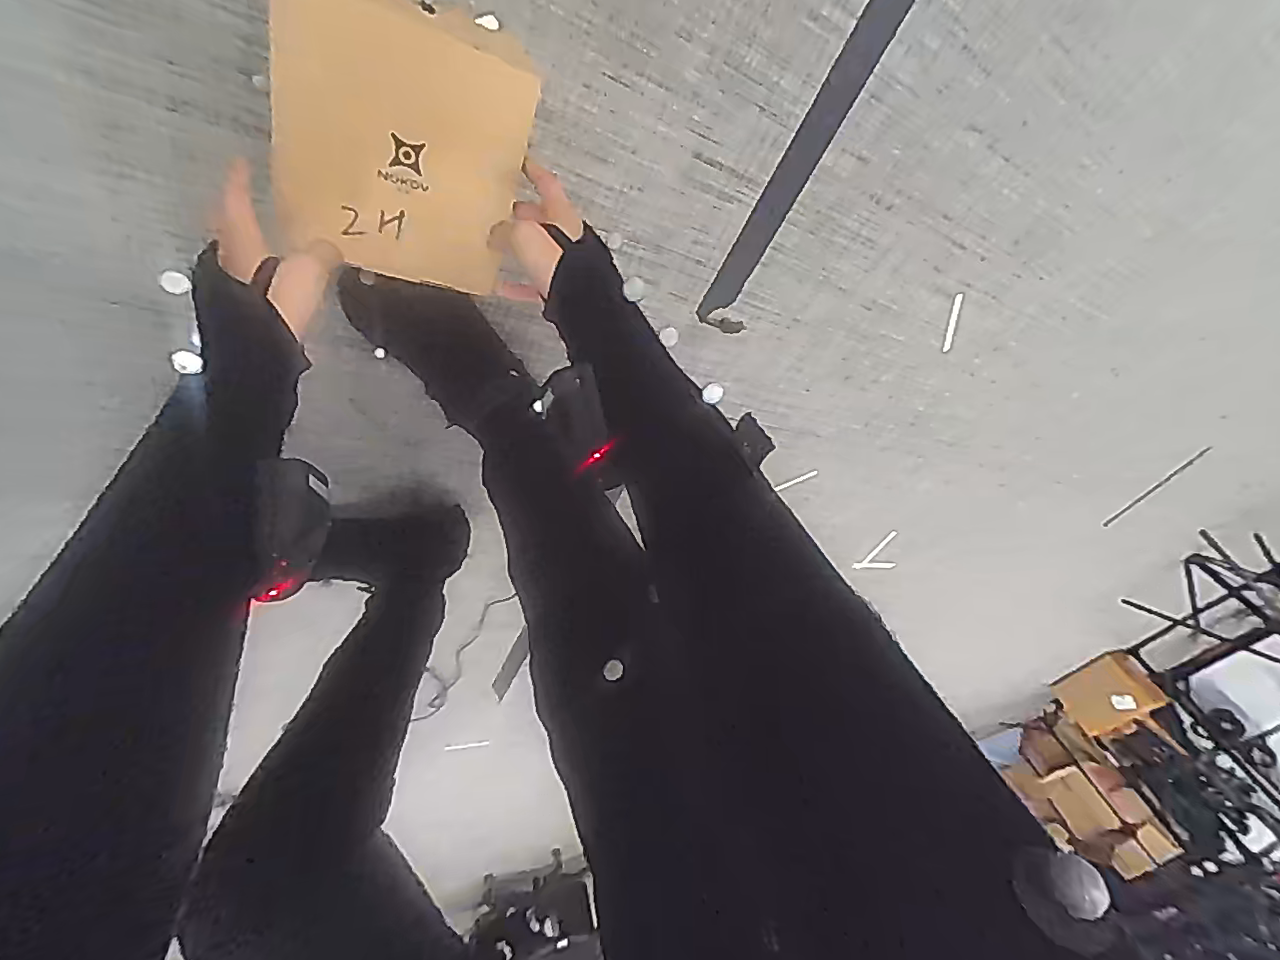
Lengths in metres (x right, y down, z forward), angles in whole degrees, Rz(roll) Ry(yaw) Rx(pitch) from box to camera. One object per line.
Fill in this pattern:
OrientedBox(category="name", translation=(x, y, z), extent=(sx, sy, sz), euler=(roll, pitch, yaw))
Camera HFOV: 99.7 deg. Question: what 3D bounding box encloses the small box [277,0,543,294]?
OrientedBox(category="small box", translation=(-0.195, -0.290, 0.451), extent=(0.168, 0.176, 0.179), euler=(5, 133, -28))
